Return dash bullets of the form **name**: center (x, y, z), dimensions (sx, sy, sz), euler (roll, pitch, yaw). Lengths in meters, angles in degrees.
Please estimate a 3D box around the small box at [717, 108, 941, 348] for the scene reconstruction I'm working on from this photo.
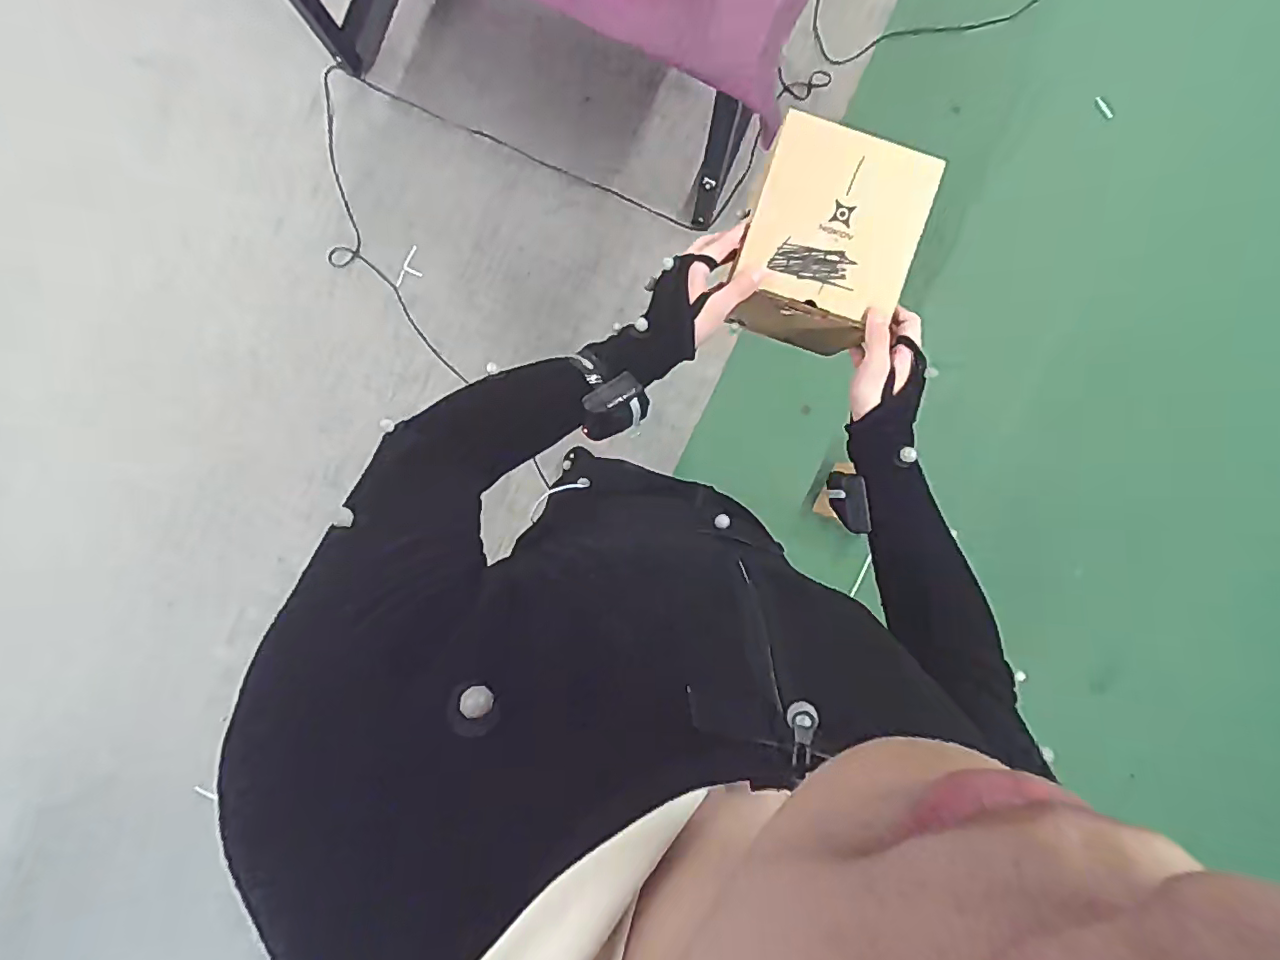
- **small box**: center (0.192, -0.262, 0.610), dimensions (0.168, 0.176, 0.179), euler (17, 95, -1)

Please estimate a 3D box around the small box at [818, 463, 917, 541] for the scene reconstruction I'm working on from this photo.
- **small box**: center (0.647, 0.056, 1.557), dimensions (0.179, 0.176, 0.168), euler (26, 92, -1)
